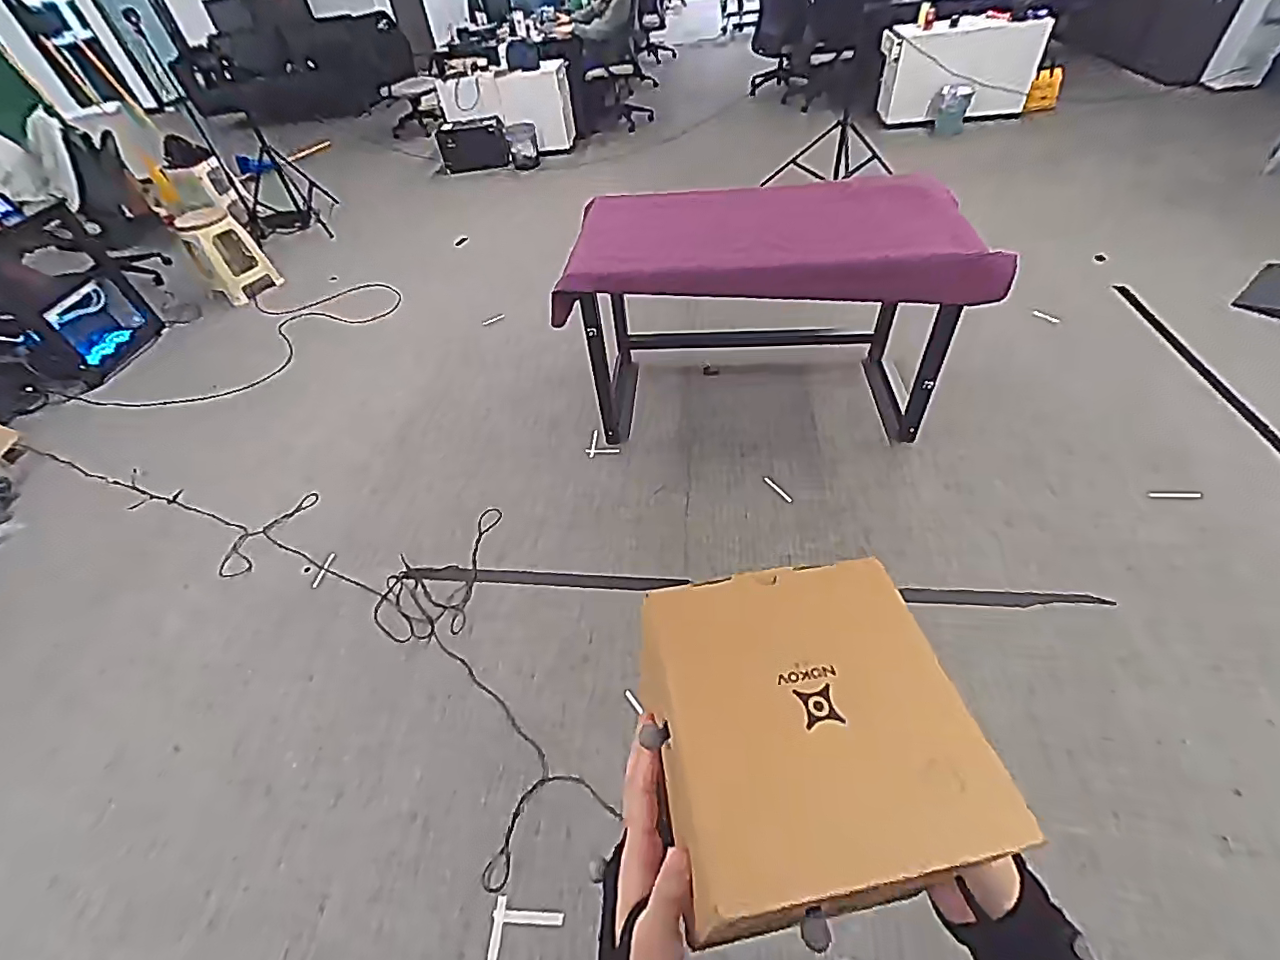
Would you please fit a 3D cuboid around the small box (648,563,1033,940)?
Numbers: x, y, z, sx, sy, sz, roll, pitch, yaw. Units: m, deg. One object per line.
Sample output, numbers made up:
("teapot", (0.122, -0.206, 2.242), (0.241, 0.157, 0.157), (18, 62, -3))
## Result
("small box", (0.101, 0.186, 0.370), (0.168, 0.176, 0.179), (-7, 45, -8))
